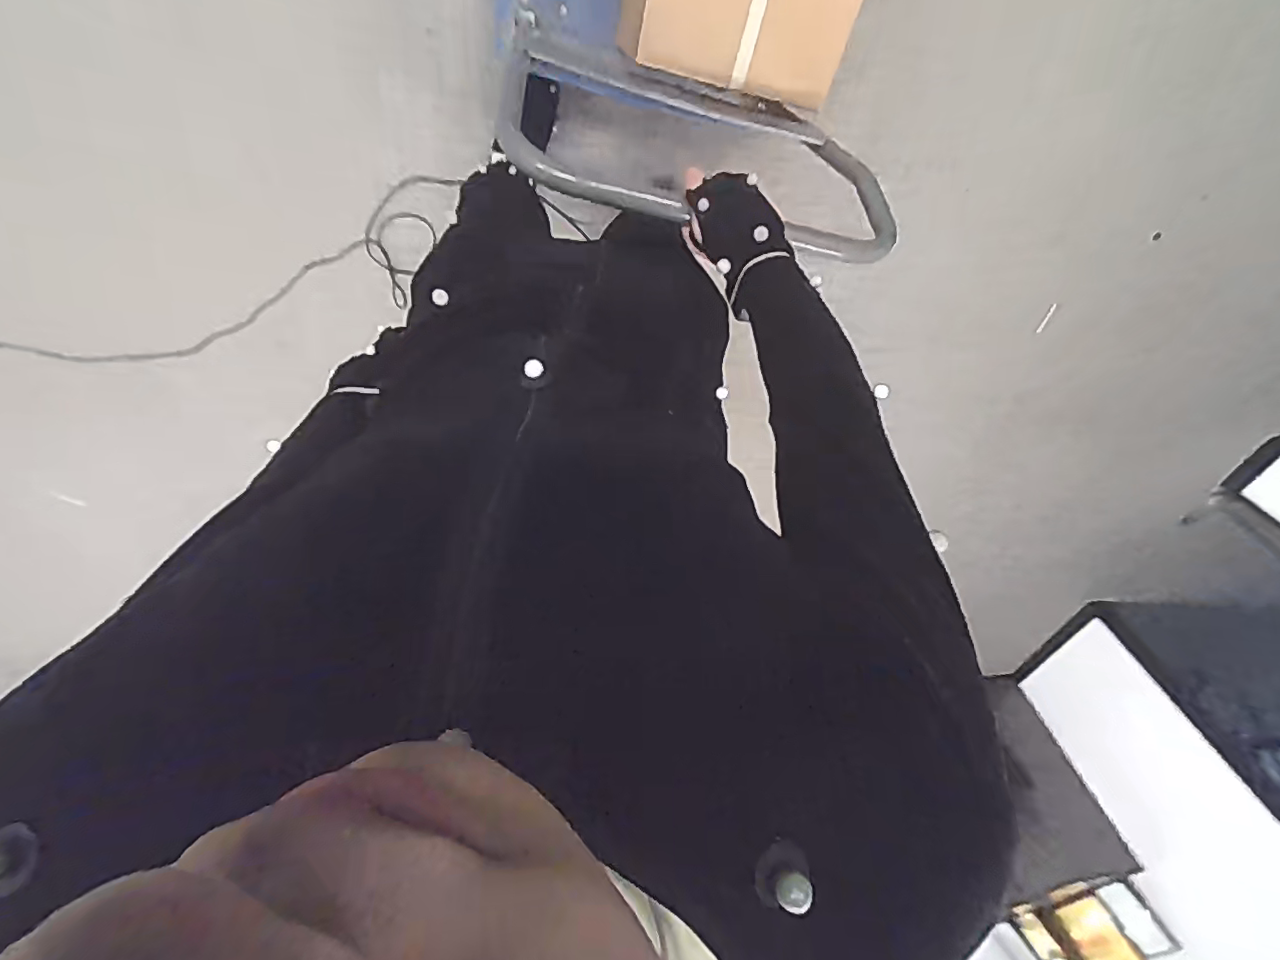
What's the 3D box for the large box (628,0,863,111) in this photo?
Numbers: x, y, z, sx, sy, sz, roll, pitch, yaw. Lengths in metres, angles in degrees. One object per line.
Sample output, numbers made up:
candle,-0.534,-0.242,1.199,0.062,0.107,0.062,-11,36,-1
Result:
large box,0.175,-0.857,0.834,0.320,0.320,0.408,5,131,-14
